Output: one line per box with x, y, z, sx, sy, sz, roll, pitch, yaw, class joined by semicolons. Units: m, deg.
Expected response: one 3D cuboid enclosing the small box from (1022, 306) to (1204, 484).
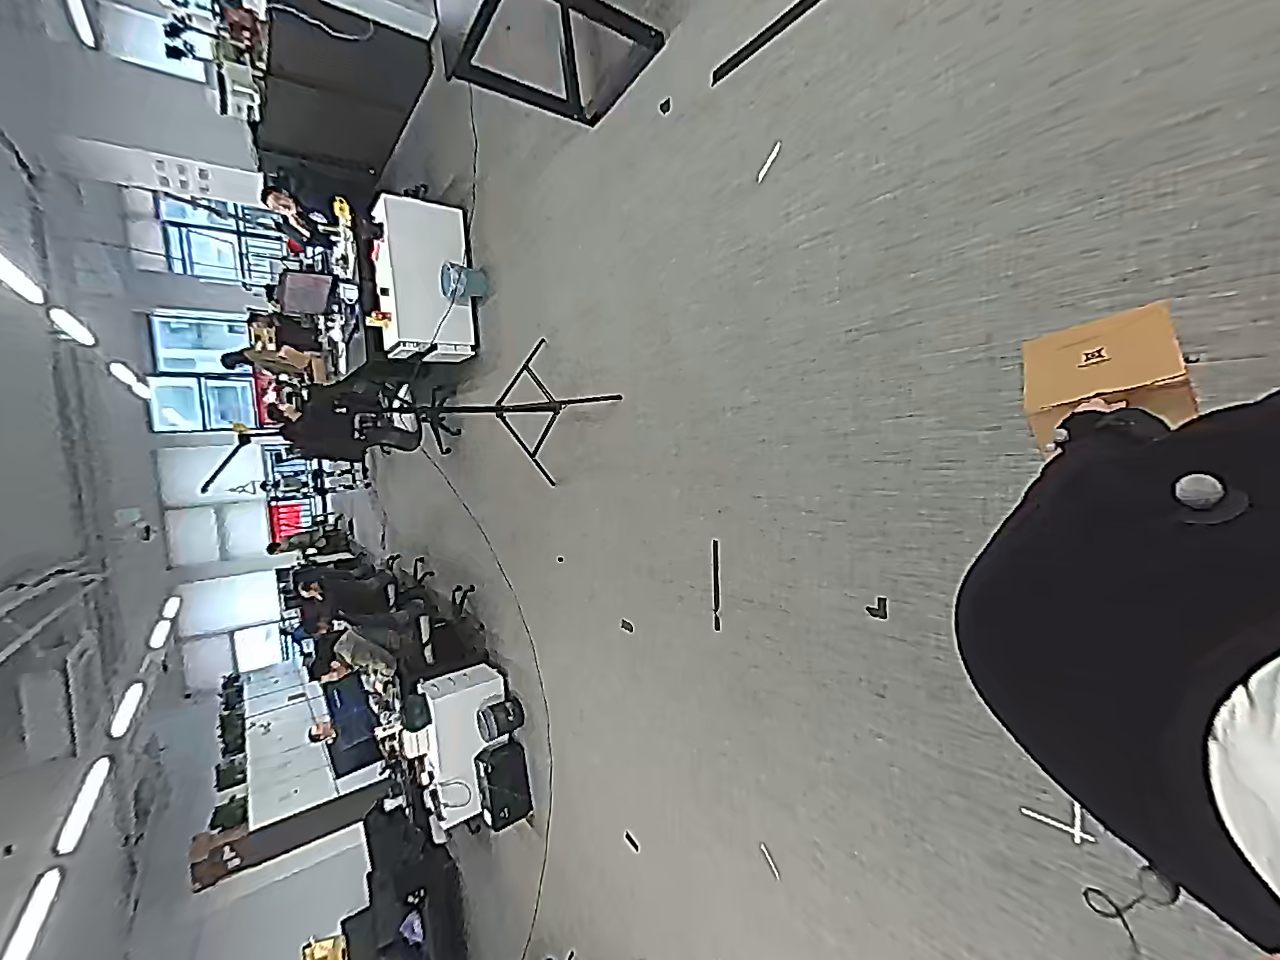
0.674;-0.109;0.780;0.168;0.179;0.176;-14;125;44;small box
